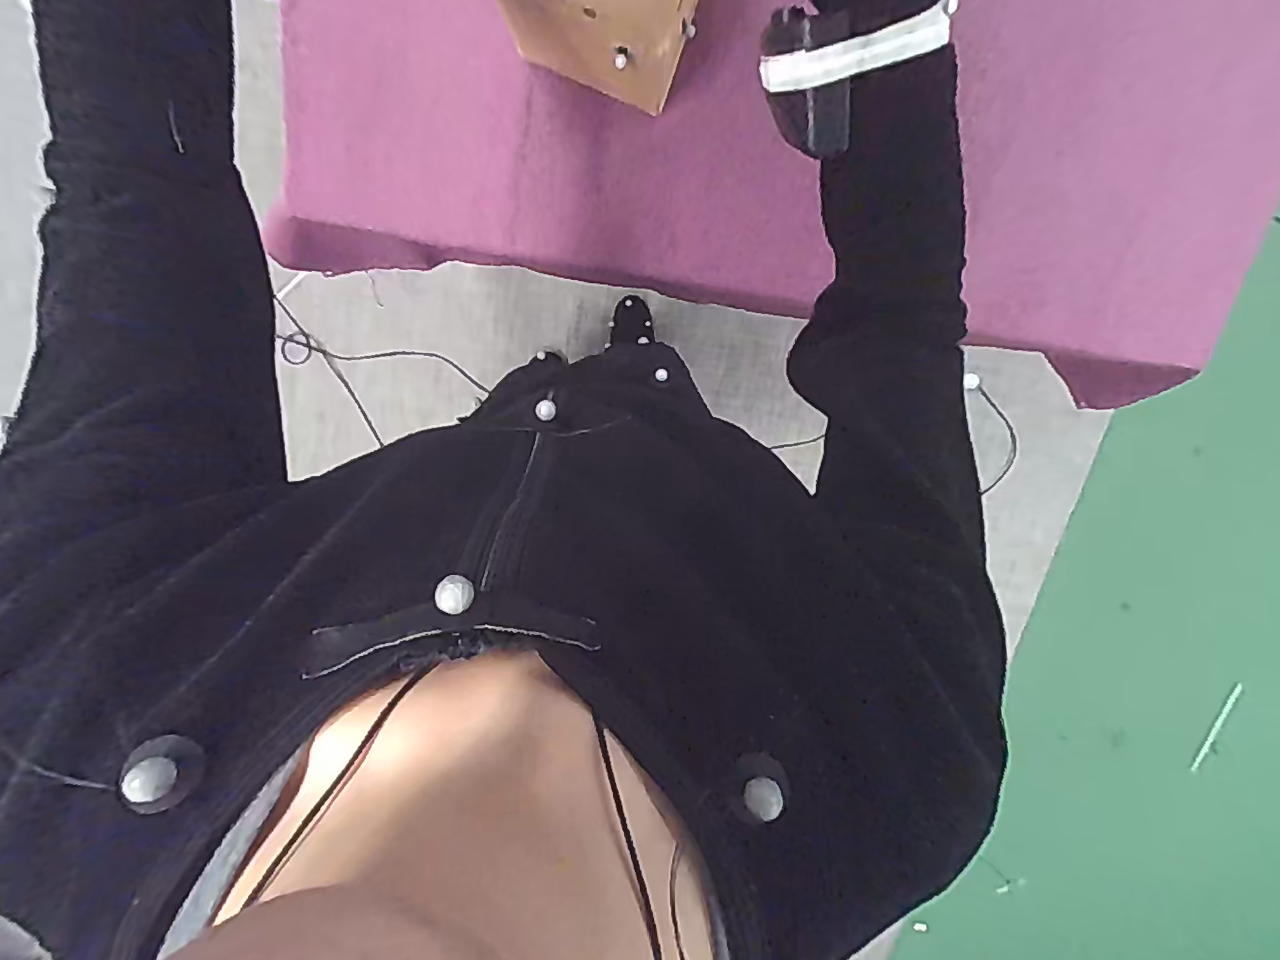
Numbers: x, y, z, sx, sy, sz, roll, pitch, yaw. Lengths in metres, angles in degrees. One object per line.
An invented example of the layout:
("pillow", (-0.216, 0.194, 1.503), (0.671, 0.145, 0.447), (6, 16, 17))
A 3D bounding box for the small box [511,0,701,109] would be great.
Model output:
("small box", (-0.027, -0.513, 0.541), (0.179, 0.176, 0.168), (19, 105, -7))

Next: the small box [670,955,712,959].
("small box", (0.184, 1.901, 1.995), (0.179, 0.176, 0.168), (4, 106, -3))
